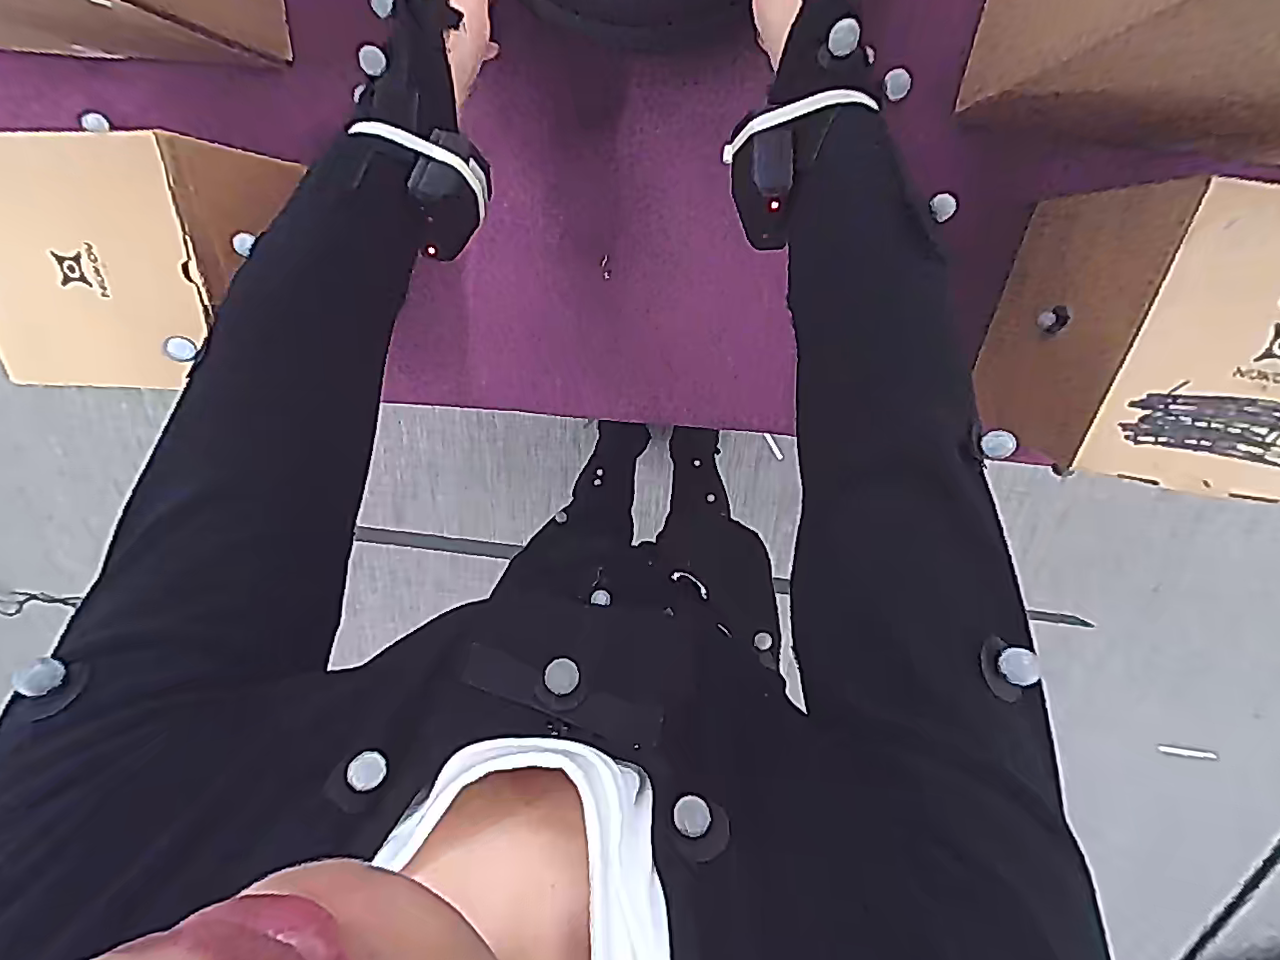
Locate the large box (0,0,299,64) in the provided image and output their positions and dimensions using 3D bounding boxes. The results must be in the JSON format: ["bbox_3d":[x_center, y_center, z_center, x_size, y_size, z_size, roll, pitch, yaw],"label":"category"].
[{"bbox_3d":[-0.432,-0.480,0.245,0.320,0.320,0.408,5,116,2],"label":"large box"}]

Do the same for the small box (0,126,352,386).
[{"bbox_3d":[-0.379,-0.177,0.446,0.179,0.176,0.168,2,112,4],"label":"small box"}]
